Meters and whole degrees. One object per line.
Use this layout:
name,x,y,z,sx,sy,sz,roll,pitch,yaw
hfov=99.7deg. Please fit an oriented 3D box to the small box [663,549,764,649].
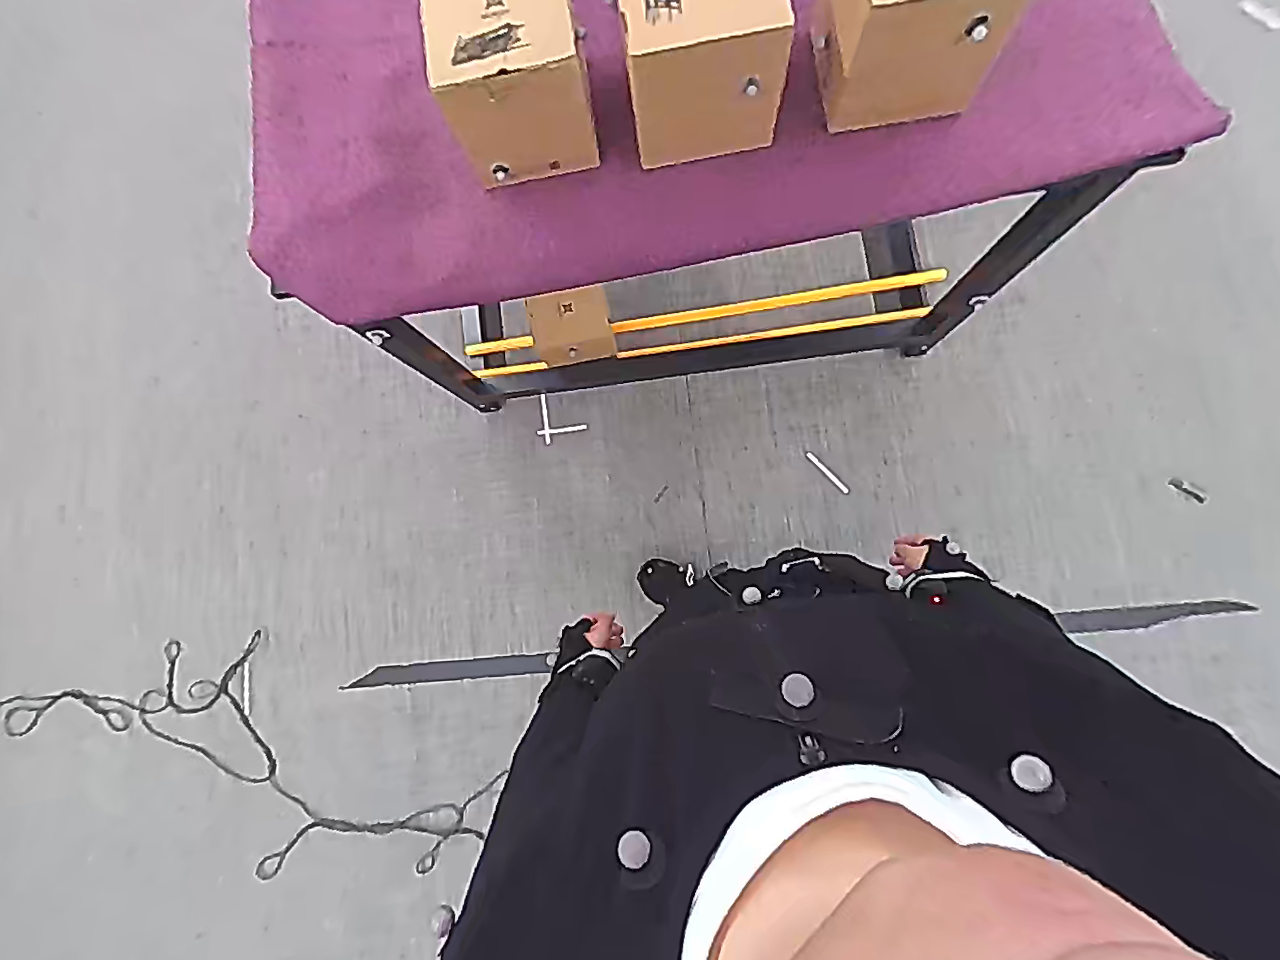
small box,0.168,0.276,1.266,0.168,0.176,0.179,42,87,11

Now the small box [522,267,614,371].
small box,-0.162,-0.373,1.279,0.179,0.176,0.168,-12,84,4
